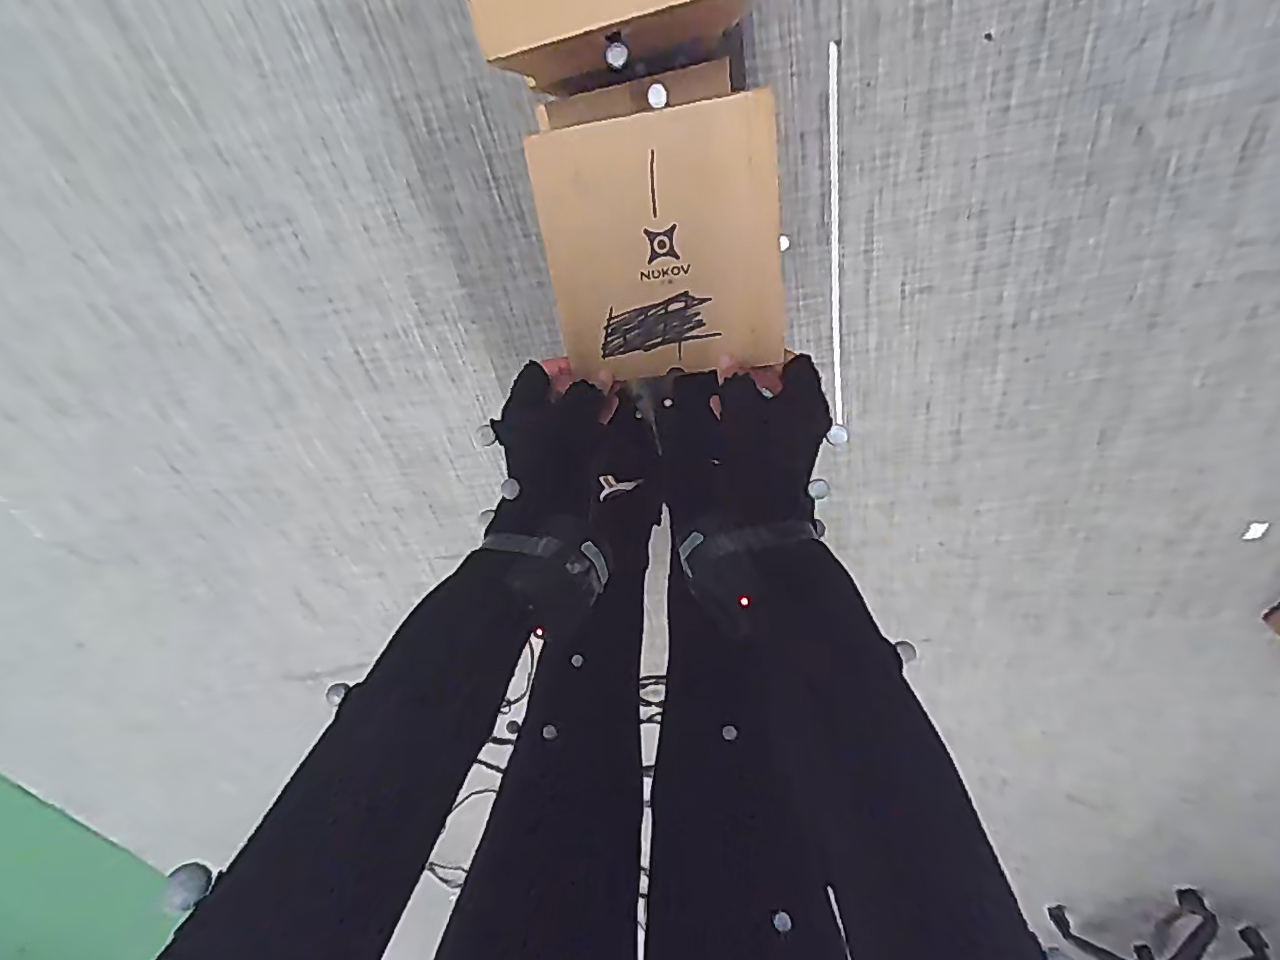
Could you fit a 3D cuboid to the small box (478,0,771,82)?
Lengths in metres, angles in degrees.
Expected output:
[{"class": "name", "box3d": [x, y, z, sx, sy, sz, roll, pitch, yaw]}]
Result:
[{"class": "small box", "box3d": [-0.017, -0.380, 0.351, 0.179, 0.176, 0.168, -8, 122, 10]}]
